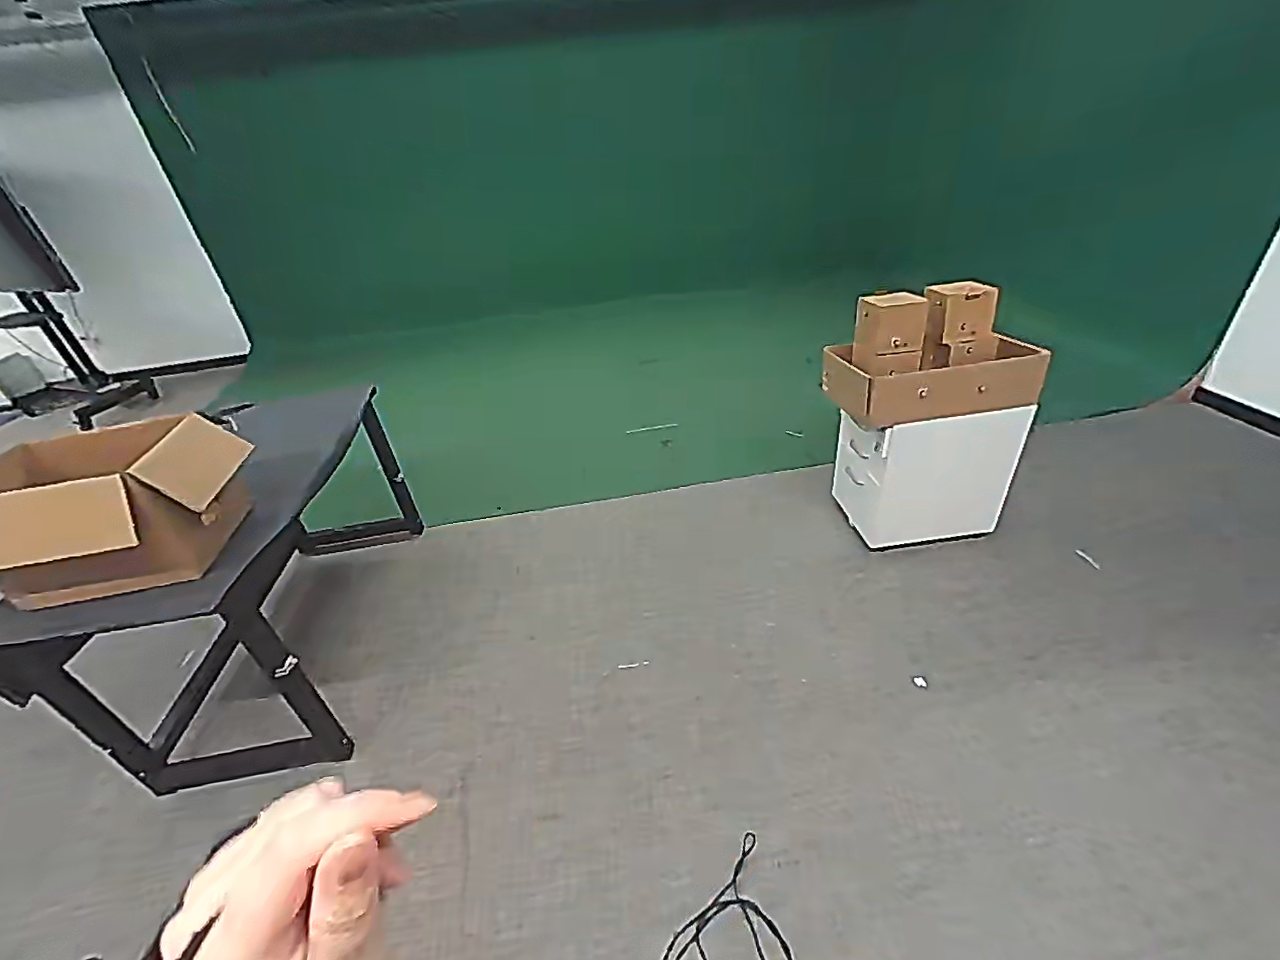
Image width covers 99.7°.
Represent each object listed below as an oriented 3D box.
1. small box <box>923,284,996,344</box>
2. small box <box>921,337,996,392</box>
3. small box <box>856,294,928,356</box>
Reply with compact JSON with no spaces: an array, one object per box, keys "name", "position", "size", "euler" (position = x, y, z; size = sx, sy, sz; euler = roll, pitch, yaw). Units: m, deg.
[{"name":"small box","position":[1.114,-0.586,1.911],"size":[0.168,0.176,0.179],"euler":[-6,28,3]},{"name":"small box","position":[1.145,-0.431,1.959],"size":[0.168,0.176,0.179],"euler":[-10,28,0]},{"name":"small box","position":[0.866,-0.538,1.878],"size":[0.168,0.176,0.179],"euler":[-7,29,0]}]
